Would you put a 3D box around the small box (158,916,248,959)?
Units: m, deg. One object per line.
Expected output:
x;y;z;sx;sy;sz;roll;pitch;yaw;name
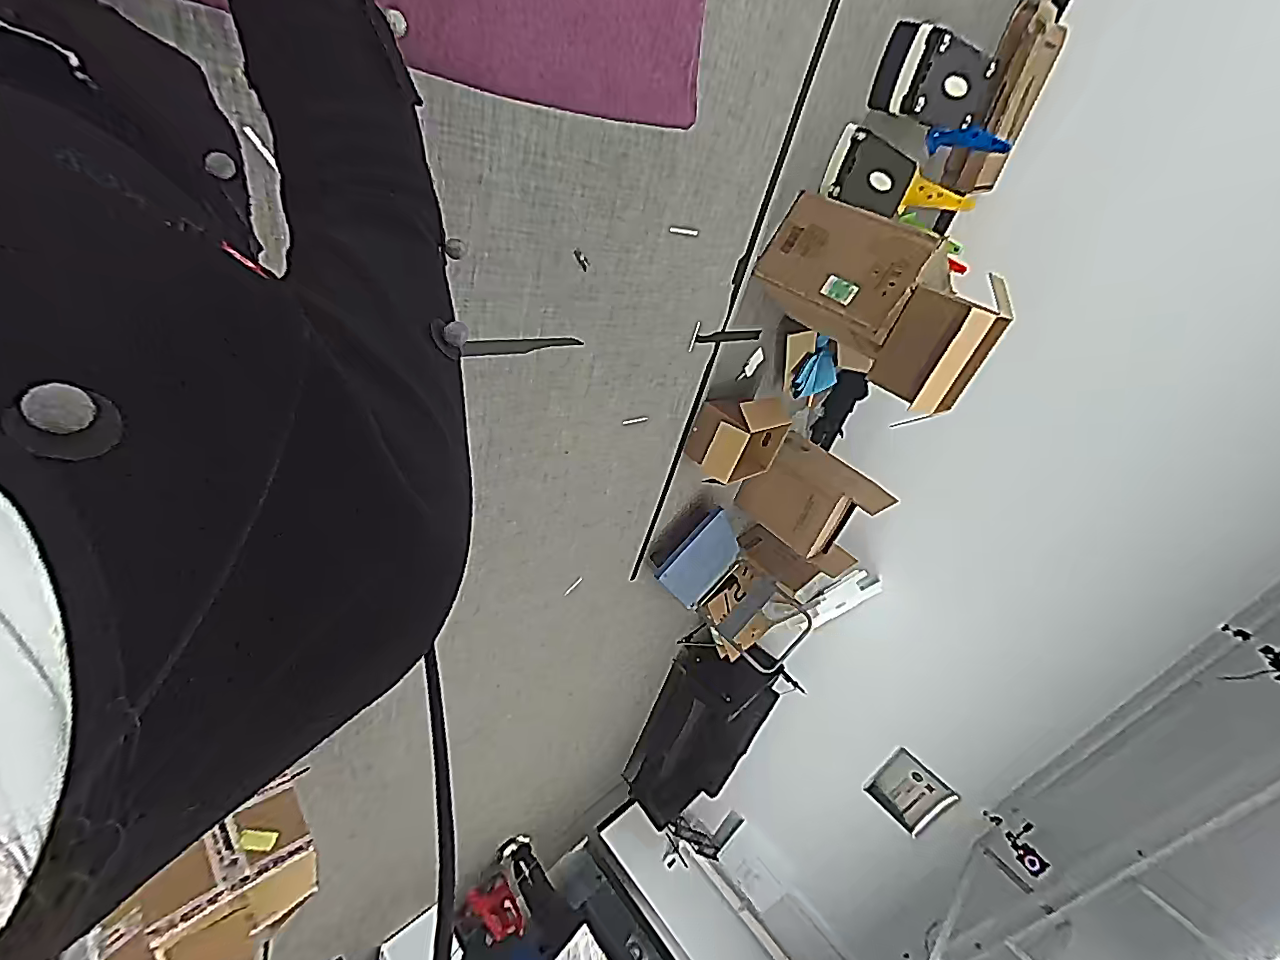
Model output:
-1.202;1.369;1.493;0.179;0.176;0.168;-9;129;-45;small box
